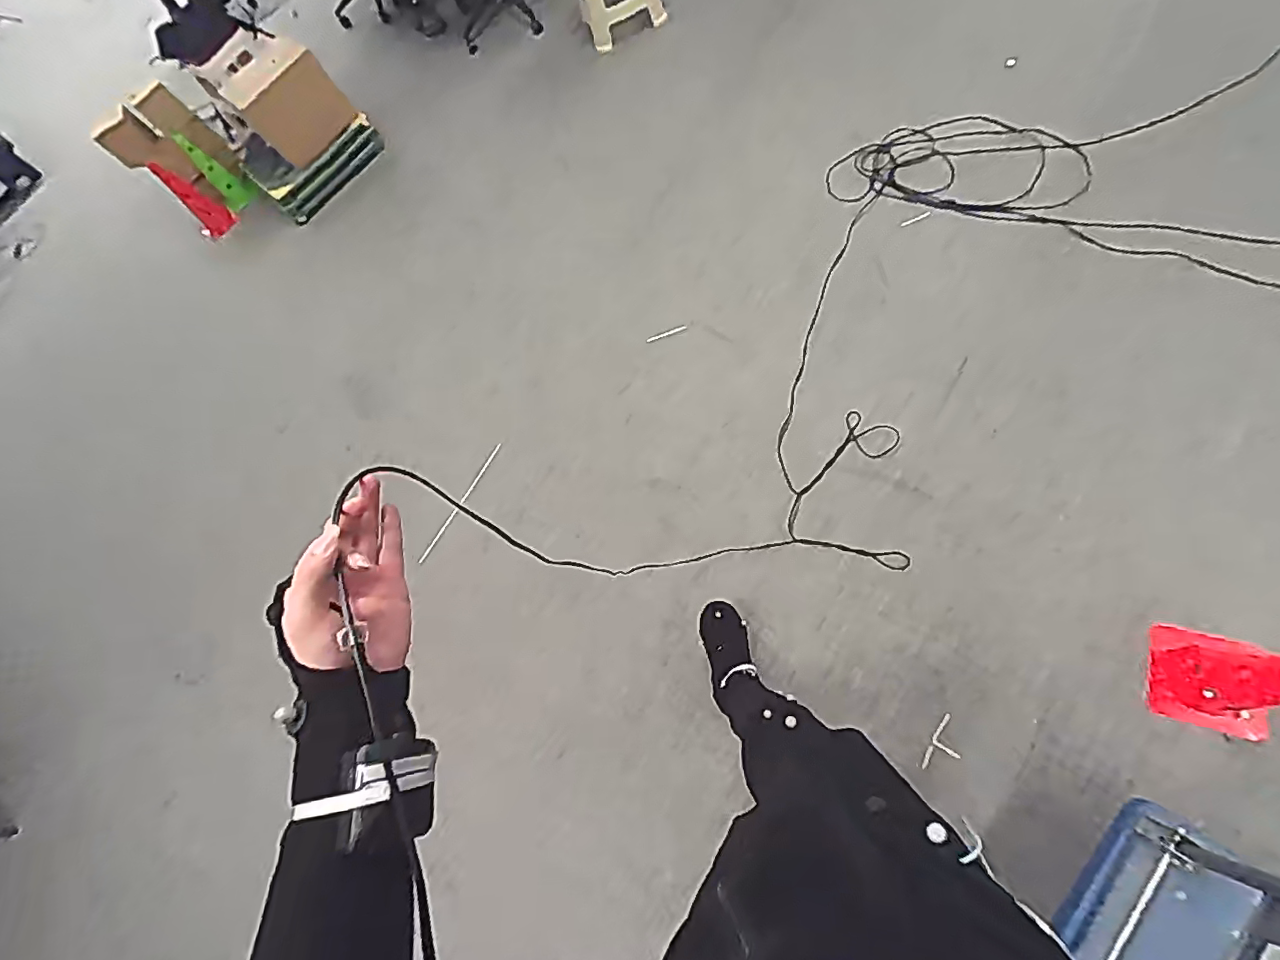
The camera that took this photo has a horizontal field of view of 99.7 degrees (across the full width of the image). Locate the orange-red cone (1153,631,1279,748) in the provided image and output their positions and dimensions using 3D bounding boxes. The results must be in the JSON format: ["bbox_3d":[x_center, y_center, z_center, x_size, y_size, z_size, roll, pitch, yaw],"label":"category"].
[{"bbox_3d":[1.178,0.379,1.002,0.198,0.360,0.199,13,72,20],"label":"orange-red cone"}]
